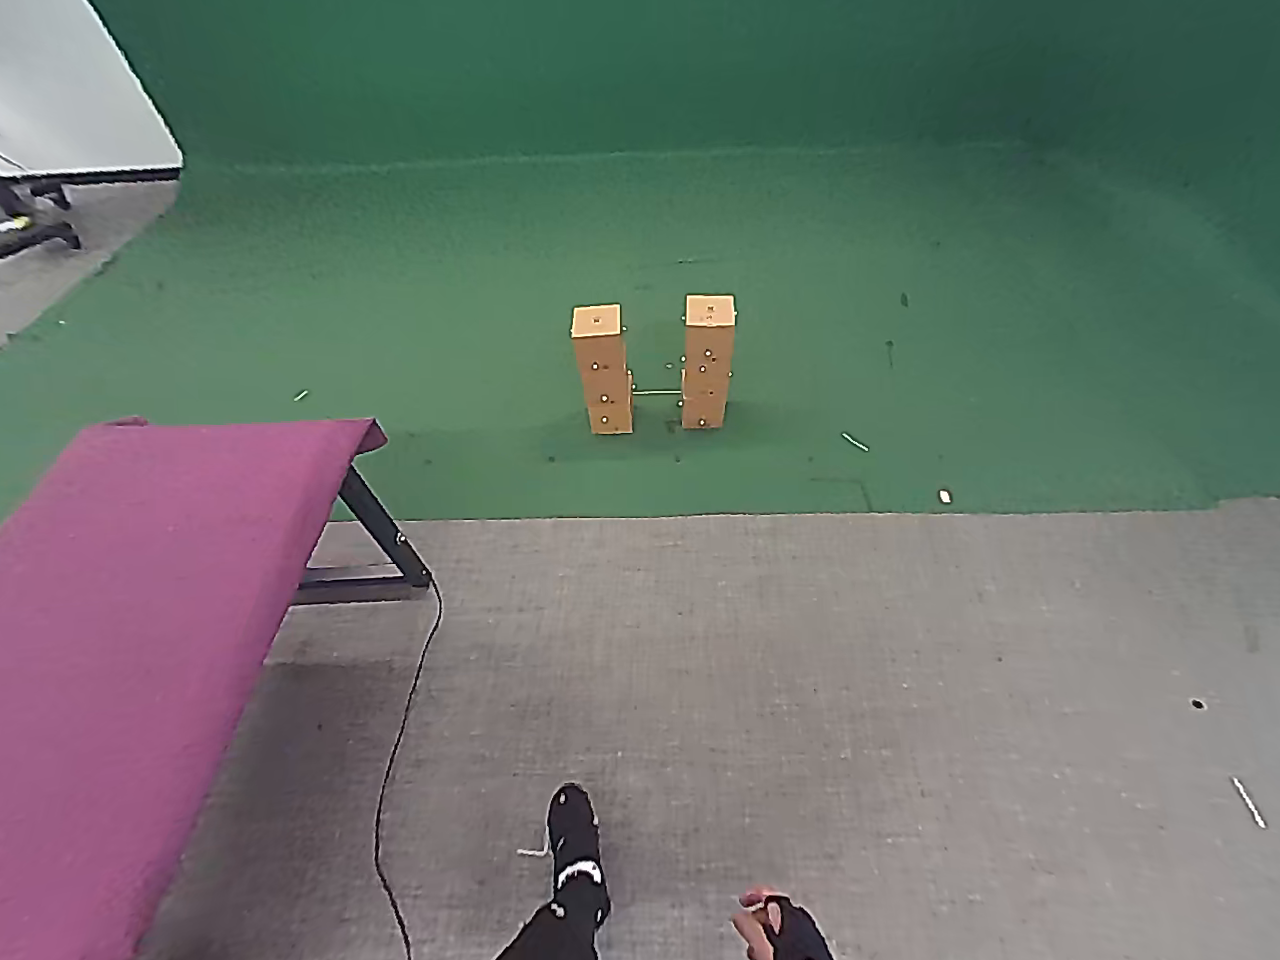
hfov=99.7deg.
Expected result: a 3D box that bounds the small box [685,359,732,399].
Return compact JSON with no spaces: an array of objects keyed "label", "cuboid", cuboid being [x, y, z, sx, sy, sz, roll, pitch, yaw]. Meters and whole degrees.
[{"label":"small box","cuboid":[0.258,-0.430,2.060,0.168,0.176,0.179,2,52,5]}]

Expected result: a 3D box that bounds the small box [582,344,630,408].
[{"label":"small box","cuboid":[-0.125,-0.393,2.055,0.168,0.176,0.179,-3,52,2]}]

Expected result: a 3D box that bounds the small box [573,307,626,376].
[{"label":"small box","cuboid":[-0.141,-0.493,1.928,0.168,0.176,0.179,-3,51,2]}]

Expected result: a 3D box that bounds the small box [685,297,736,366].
[{"label":"small box","cuboid":[0.249,-0.529,1.928,0.168,0.176,0.179,2,53,5]}]

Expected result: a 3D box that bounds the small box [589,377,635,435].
[{"label":"small box","cuboid":[-0.108,-0.296,2.187,0.168,0.176,0.179,-1,51,3]}]
